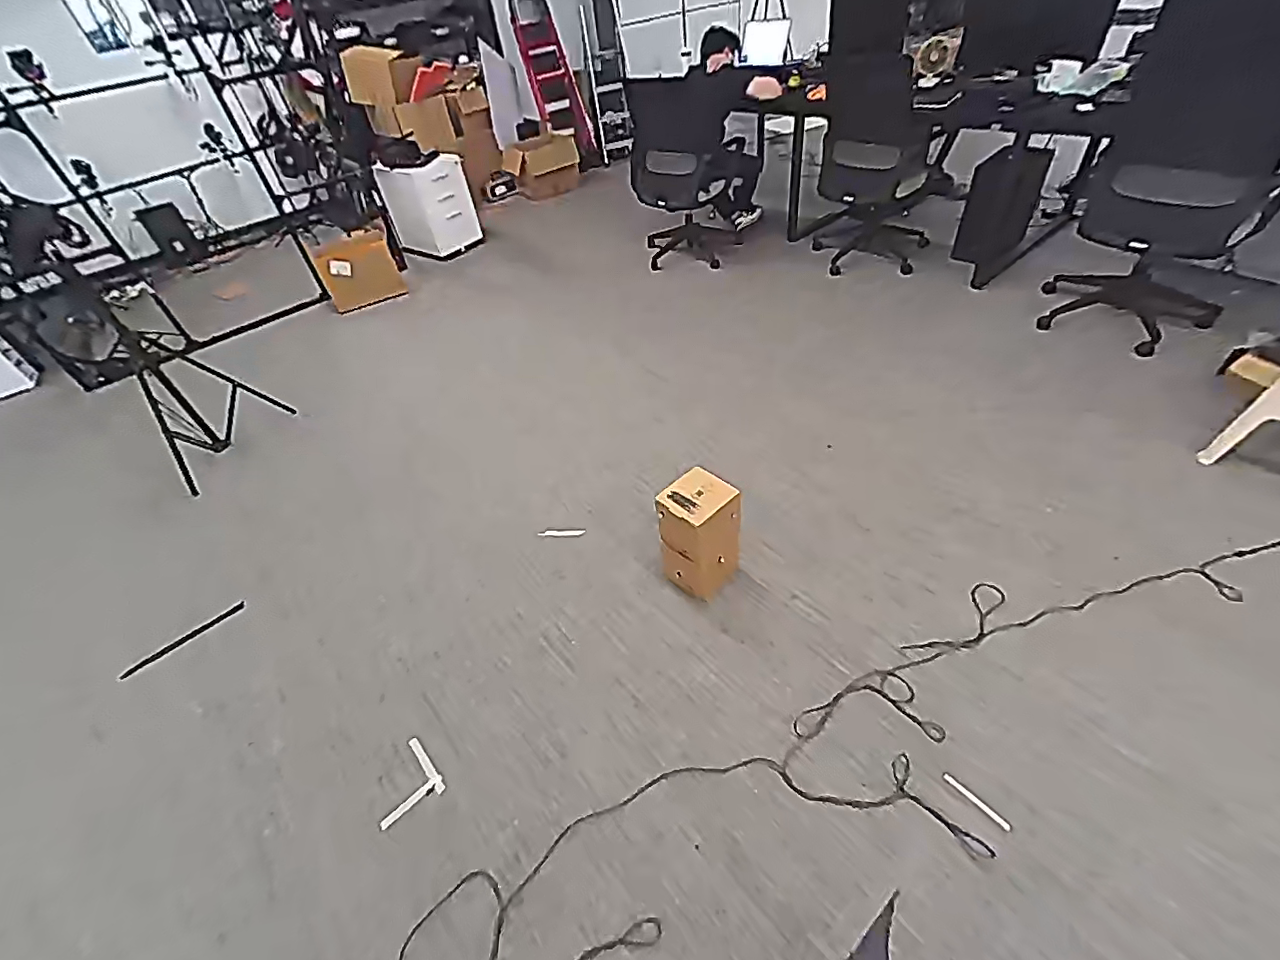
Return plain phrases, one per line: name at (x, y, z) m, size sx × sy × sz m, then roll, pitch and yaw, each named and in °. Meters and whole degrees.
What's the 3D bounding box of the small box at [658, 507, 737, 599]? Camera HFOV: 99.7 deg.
small box at (0.175, 0.221, 1.640) m, size 0.168 × 0.176 × 0.179 m, roll 29°, pitch 55°, yaw 34°
